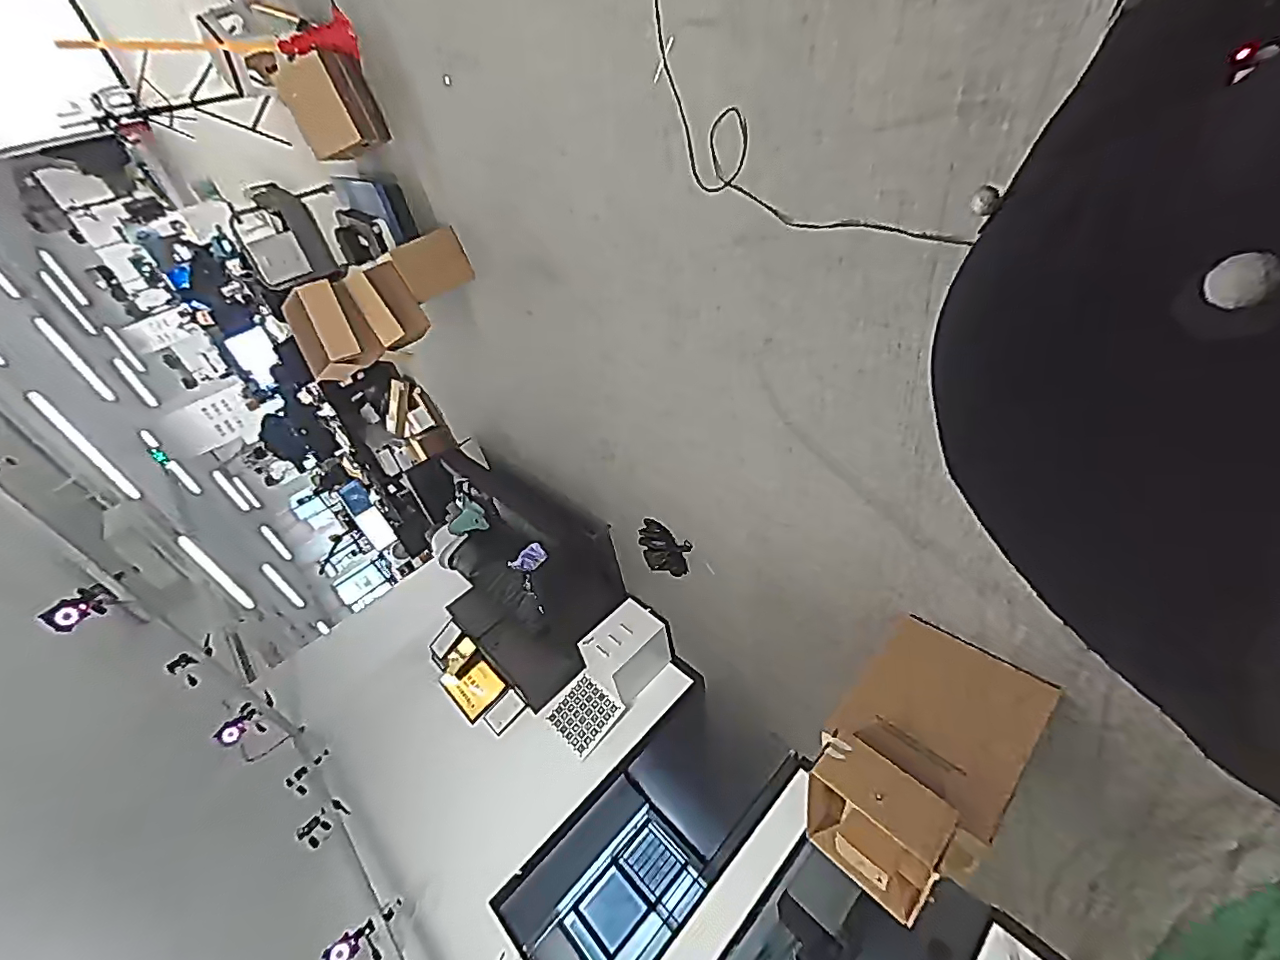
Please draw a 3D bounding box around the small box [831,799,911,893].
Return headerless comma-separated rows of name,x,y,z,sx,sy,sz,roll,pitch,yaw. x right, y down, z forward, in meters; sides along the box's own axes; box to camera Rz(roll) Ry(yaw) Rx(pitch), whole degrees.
small box,0.742,1.170,1.745,0.179,0.176,0.168,28,146,42
